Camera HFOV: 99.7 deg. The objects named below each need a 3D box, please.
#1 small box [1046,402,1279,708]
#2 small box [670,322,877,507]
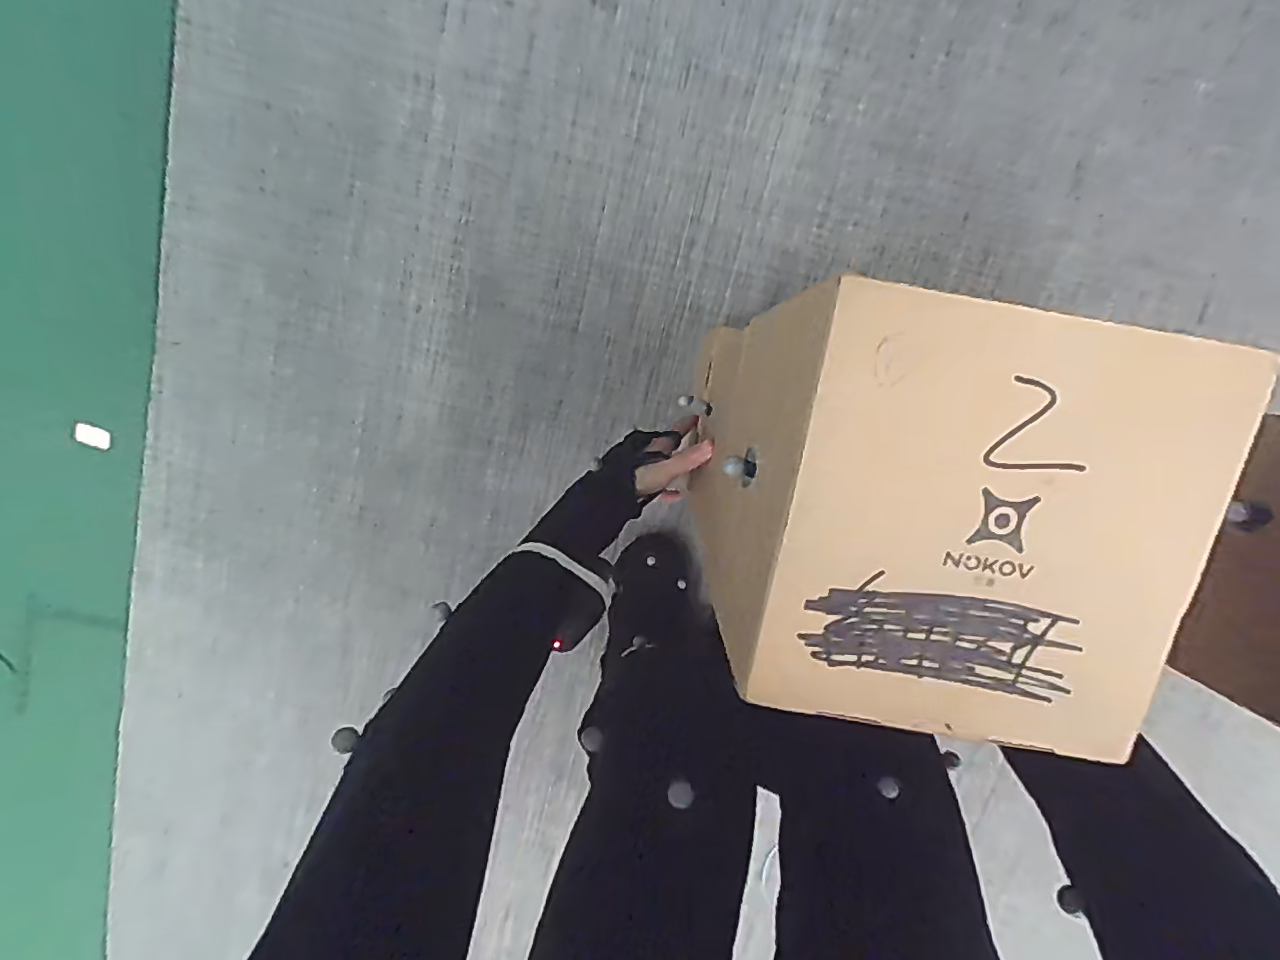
[{"bbox_3d":[0.428,0.047,0.358,0.179,0.176,0.168,13,101,-3],"label":"small box"},{"bbox_3d":[0.135,-0.080,0.619,0.179,0.176,0.168,9,102,-1],"label":"small box"}]
